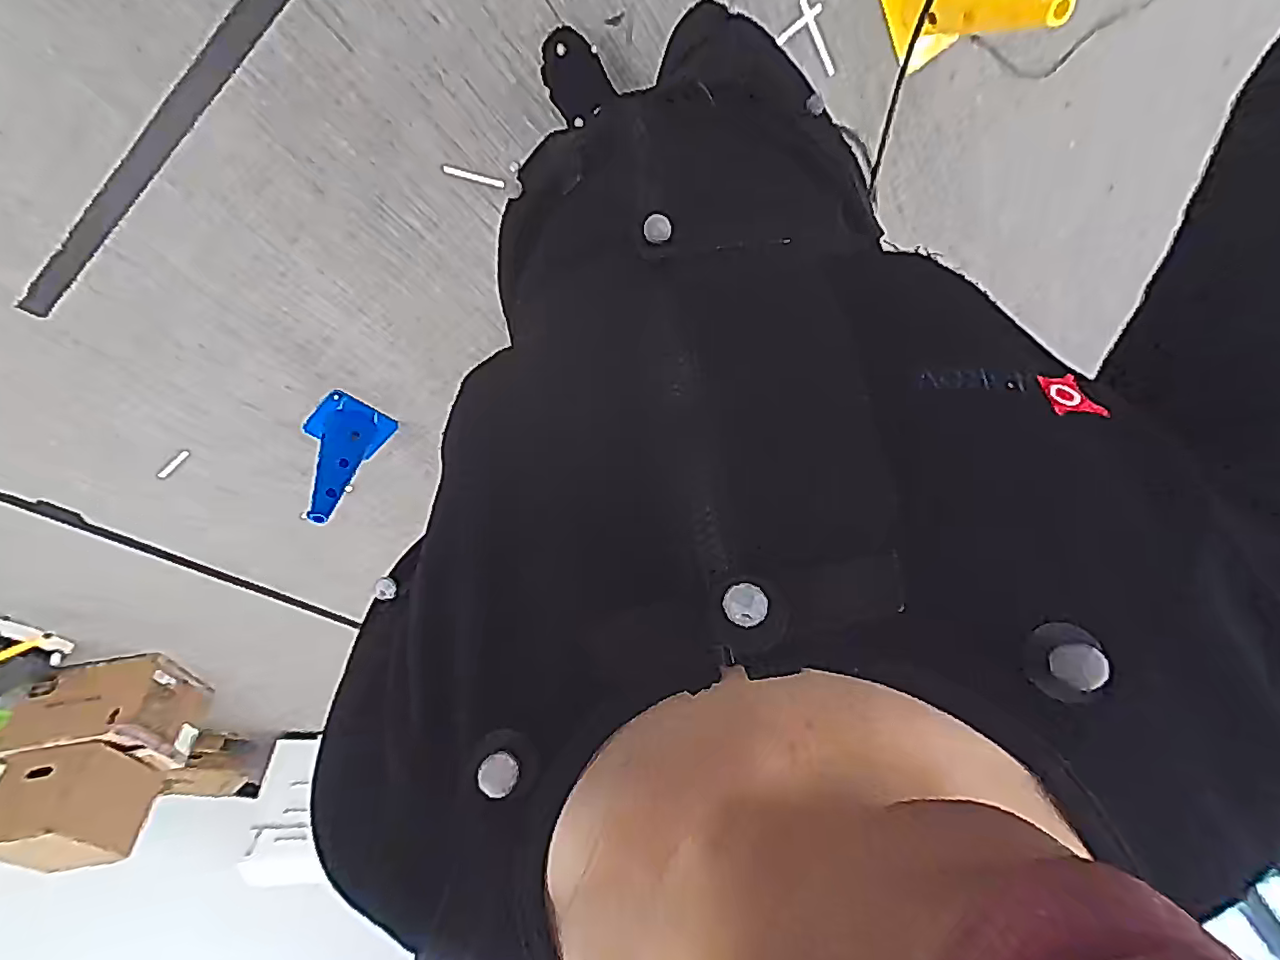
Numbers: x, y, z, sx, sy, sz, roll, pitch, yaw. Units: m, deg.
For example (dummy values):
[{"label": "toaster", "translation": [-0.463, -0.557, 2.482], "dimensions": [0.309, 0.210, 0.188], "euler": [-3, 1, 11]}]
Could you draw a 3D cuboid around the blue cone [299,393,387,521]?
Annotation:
[{"label": "blue cone", "translation": [-0.833, -0.038, 1.458], "dimensions": [0.193, 0.380, 0.192], "euler": [-35, 131, 24]}]
